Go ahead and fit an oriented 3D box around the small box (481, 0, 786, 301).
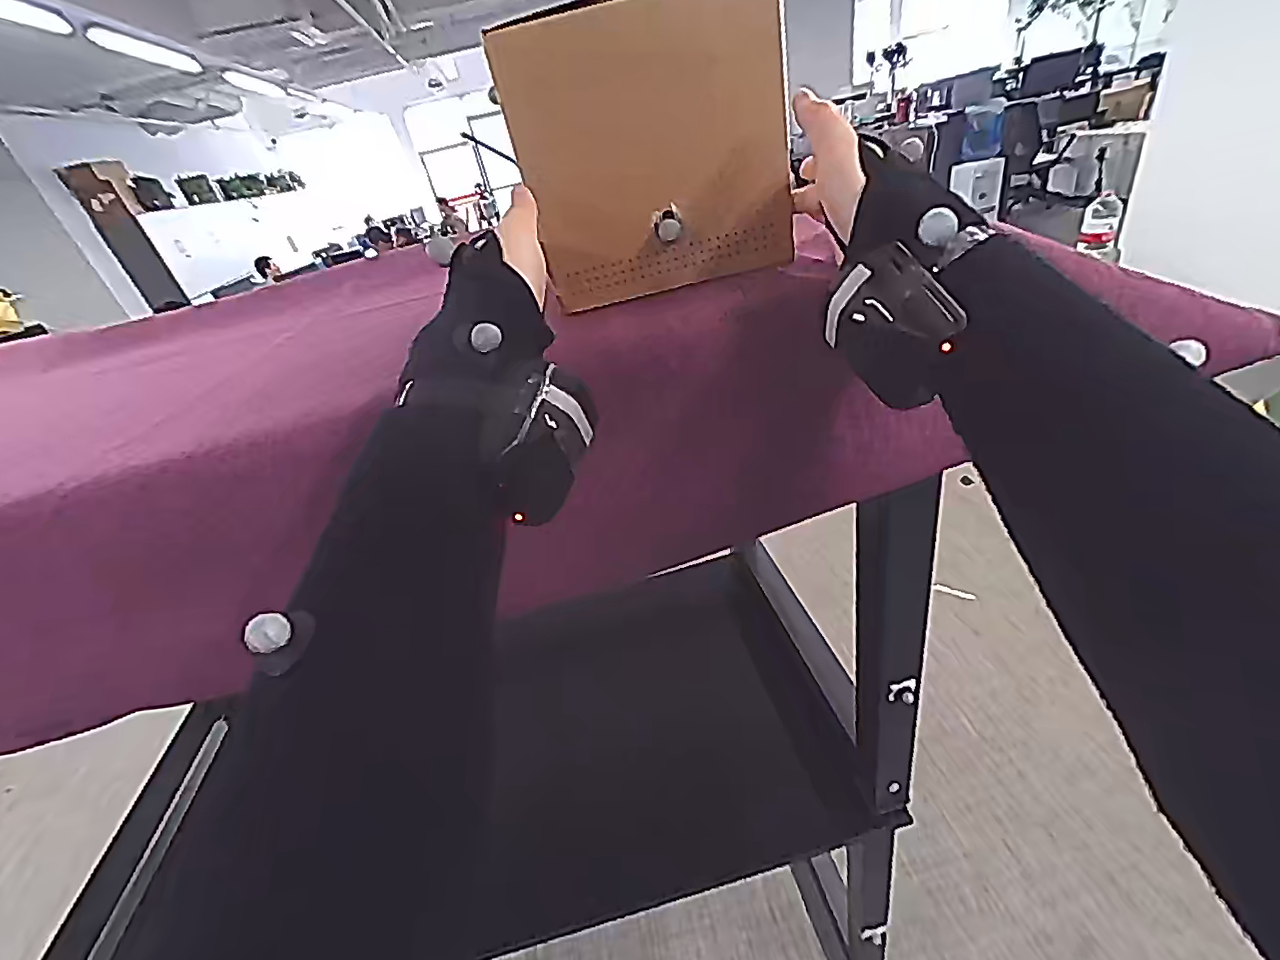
[{"bbox_3d":[0.003,-0.252,0.410,0.179,0.176,0.168,-13,31,1],"label":"small box"}]
